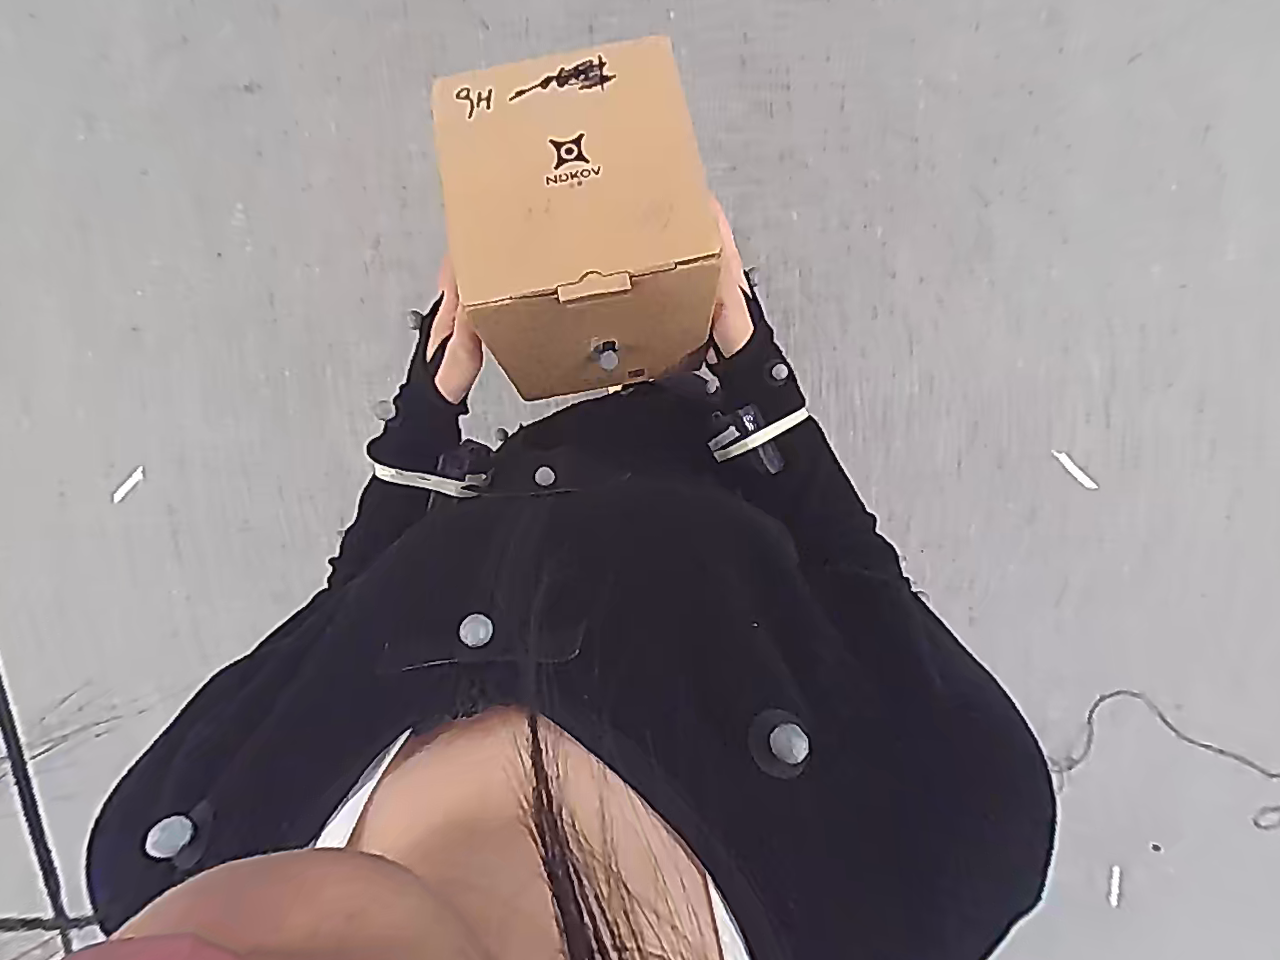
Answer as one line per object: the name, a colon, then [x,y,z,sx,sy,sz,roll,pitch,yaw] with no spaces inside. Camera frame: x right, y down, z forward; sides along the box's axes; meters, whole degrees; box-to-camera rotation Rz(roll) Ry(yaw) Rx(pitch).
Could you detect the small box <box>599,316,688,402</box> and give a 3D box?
small box: [0.011,-0.262,1.199,0.179,0.176,0.168,-5,101,2]
